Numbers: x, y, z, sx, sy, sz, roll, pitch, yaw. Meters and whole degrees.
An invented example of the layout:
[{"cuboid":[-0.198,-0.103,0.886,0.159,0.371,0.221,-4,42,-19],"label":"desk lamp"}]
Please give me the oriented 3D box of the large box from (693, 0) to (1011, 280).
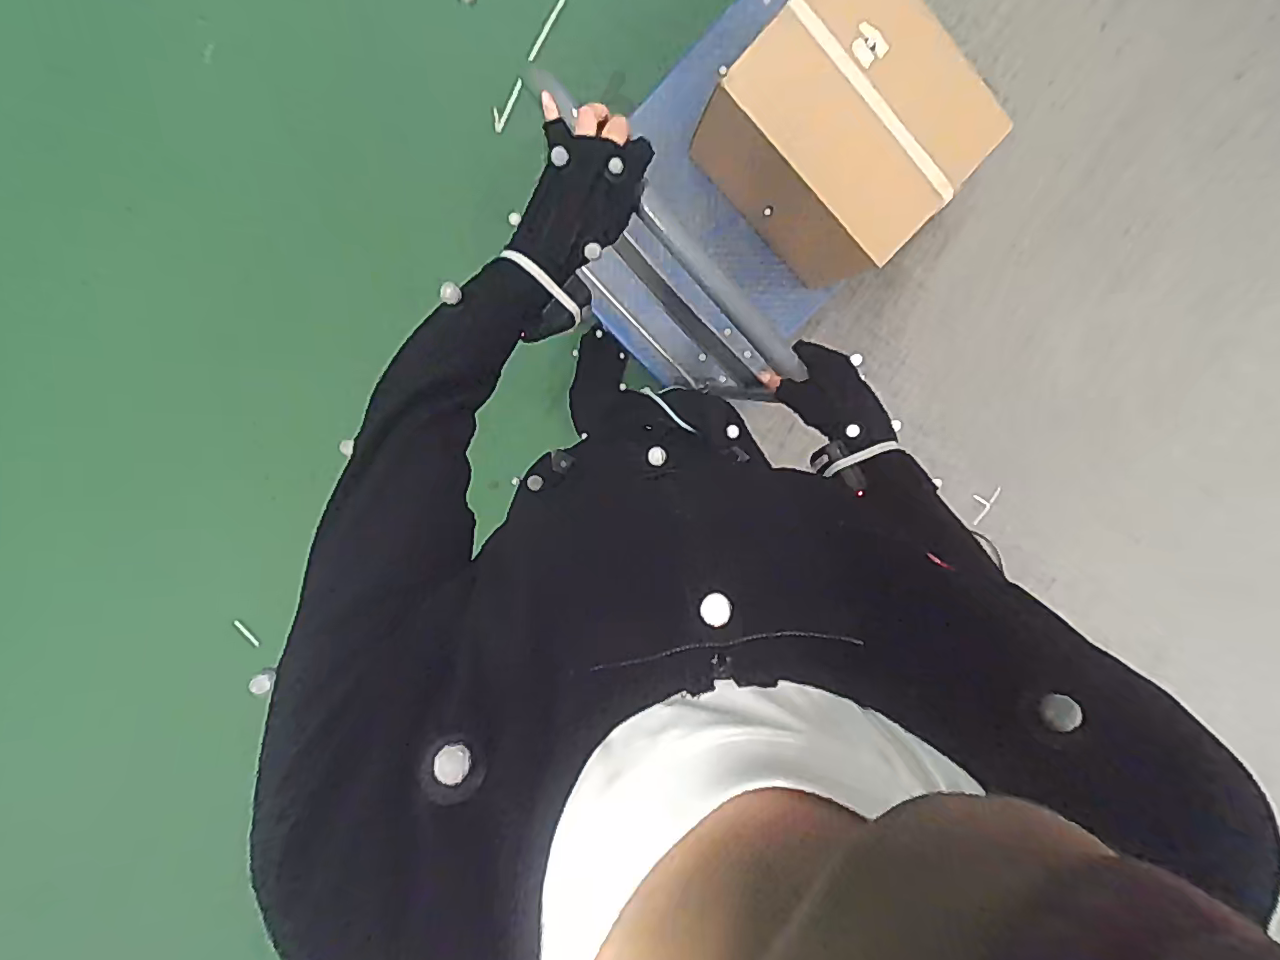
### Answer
[{"cuboid":[0.363,-0.651,1.023,0.408,0.320,0.320,42,96,-11],"label":"large box"}]
